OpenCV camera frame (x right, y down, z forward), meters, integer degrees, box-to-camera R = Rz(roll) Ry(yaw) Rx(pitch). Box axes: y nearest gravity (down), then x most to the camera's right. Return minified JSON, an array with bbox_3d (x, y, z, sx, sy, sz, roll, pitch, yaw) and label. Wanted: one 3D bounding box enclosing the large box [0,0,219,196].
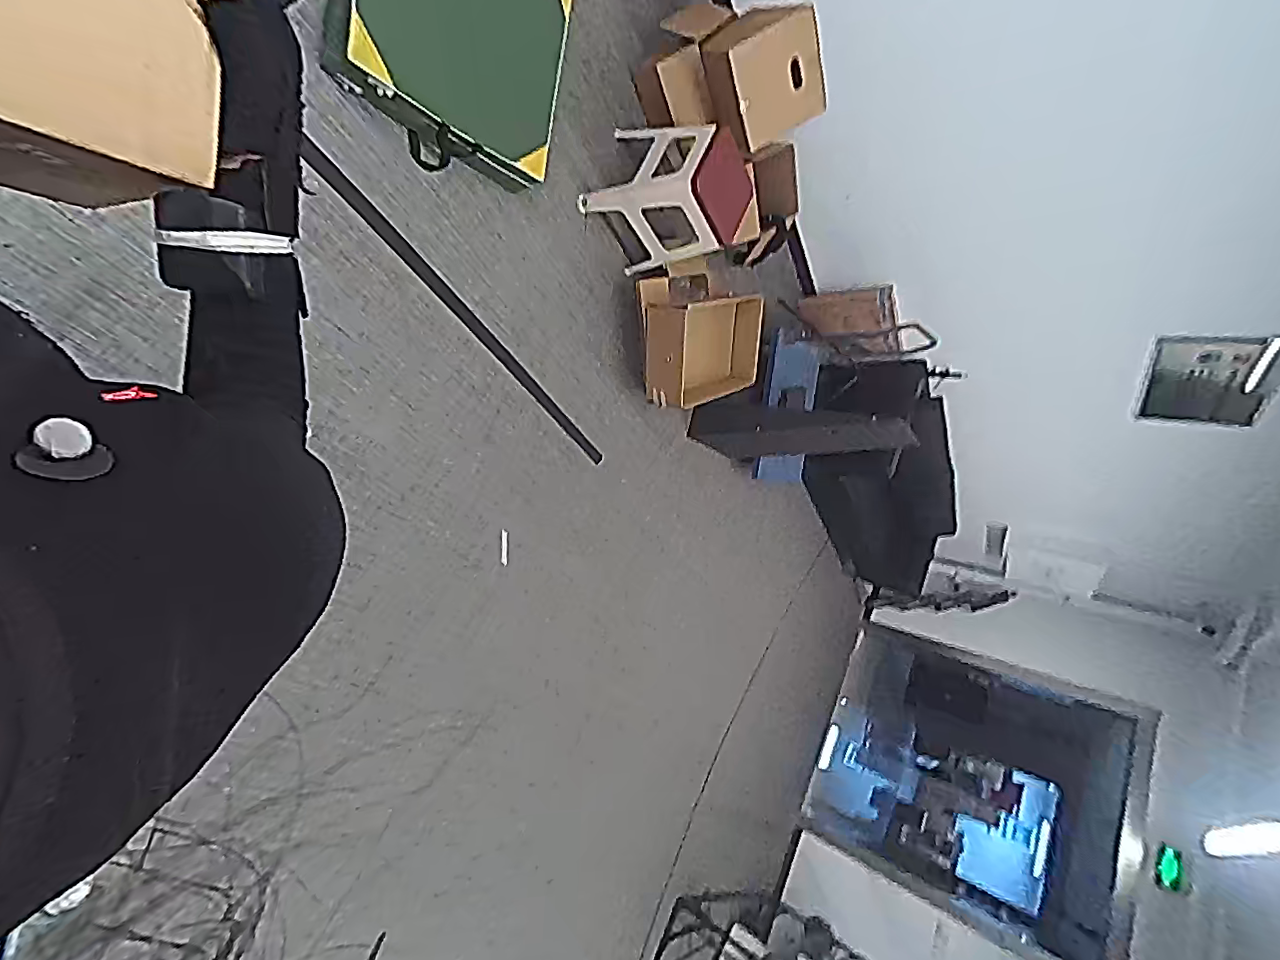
[{"bbox_3d":[-0.500,-0.379,0.260,0.408,0.320,0.320,-3,107,-56],"label":"large box"}]
